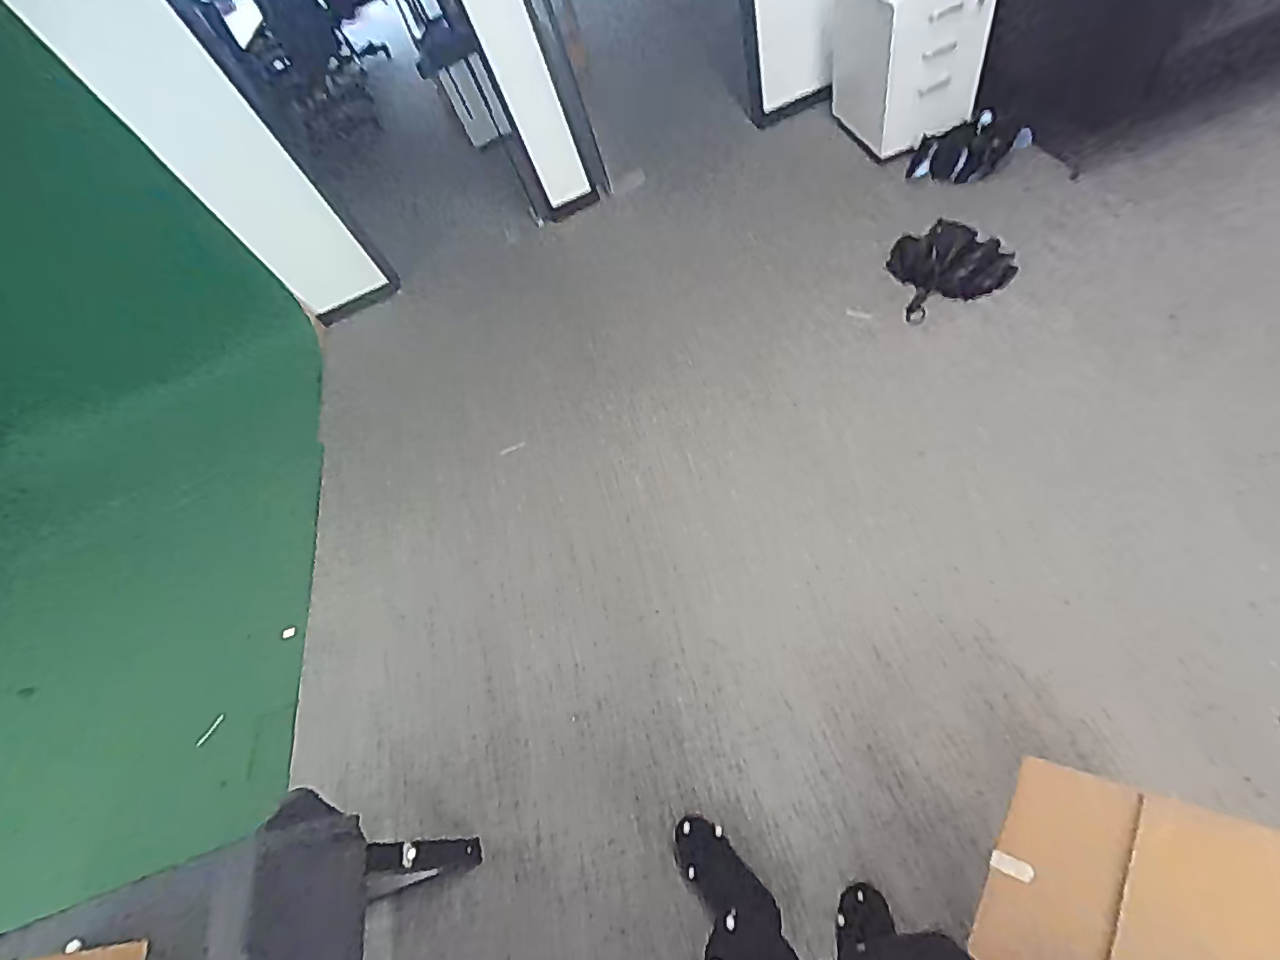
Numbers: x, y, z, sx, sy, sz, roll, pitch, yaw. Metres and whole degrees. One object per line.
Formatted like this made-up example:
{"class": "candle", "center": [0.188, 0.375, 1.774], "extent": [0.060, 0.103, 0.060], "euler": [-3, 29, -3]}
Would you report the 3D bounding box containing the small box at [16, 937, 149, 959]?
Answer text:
{"class": "small box", "center": [-0.802, 0.729, 0.700], "extent": [0.168, 0.176, 0.179], "euler": [-17, 54, 7]}
